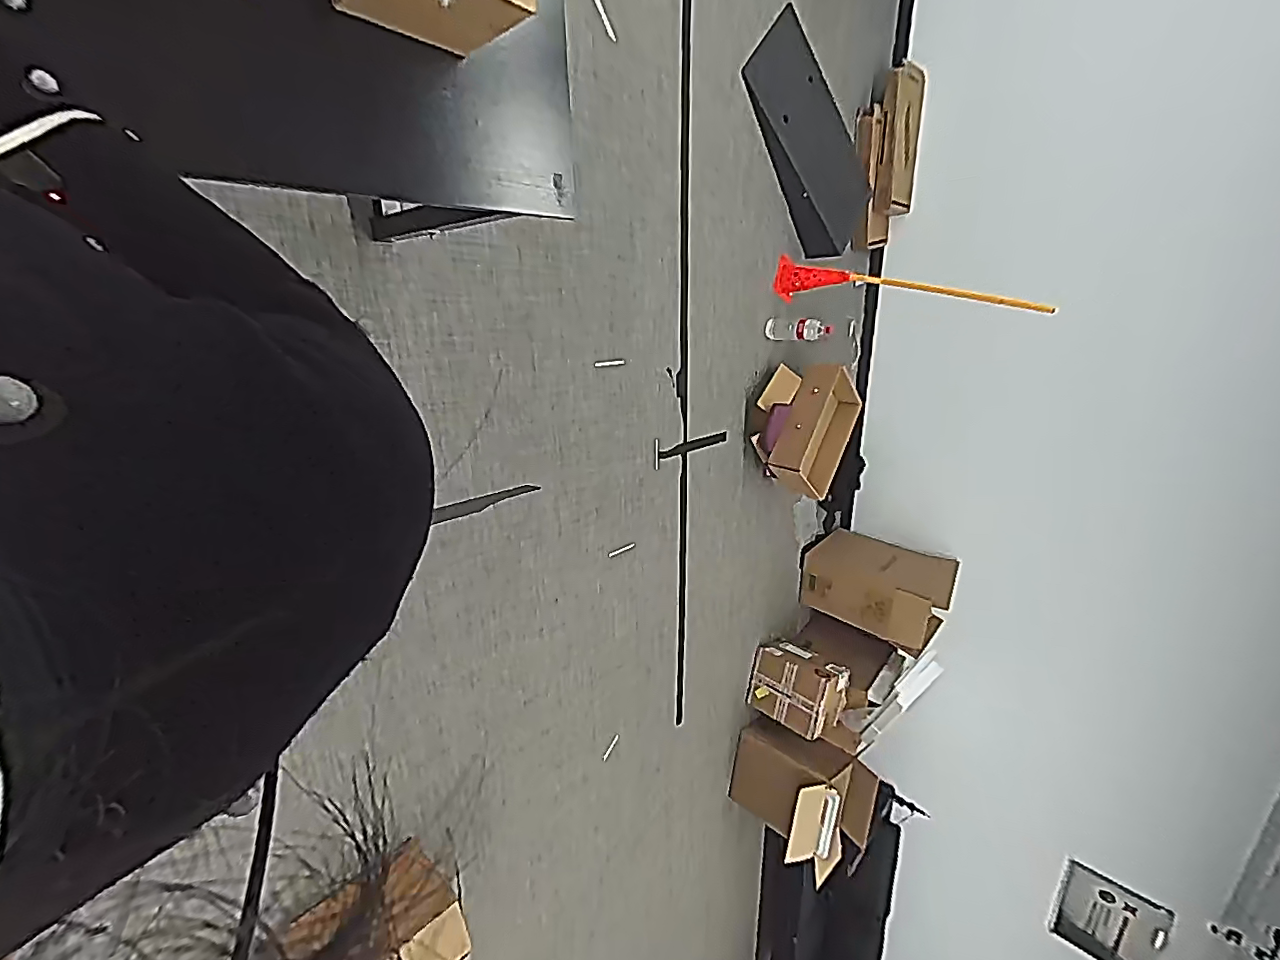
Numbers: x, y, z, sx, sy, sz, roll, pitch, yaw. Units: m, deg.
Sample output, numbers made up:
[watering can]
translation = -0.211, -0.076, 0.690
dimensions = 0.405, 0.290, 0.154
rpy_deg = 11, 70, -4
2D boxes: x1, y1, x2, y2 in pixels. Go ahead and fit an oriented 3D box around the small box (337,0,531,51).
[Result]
[small box]
translation = -0.250, -0.640, 0.627
dimensions = 0.179, 0.176, 0.168
rpy_deg = -17, 114, -45
